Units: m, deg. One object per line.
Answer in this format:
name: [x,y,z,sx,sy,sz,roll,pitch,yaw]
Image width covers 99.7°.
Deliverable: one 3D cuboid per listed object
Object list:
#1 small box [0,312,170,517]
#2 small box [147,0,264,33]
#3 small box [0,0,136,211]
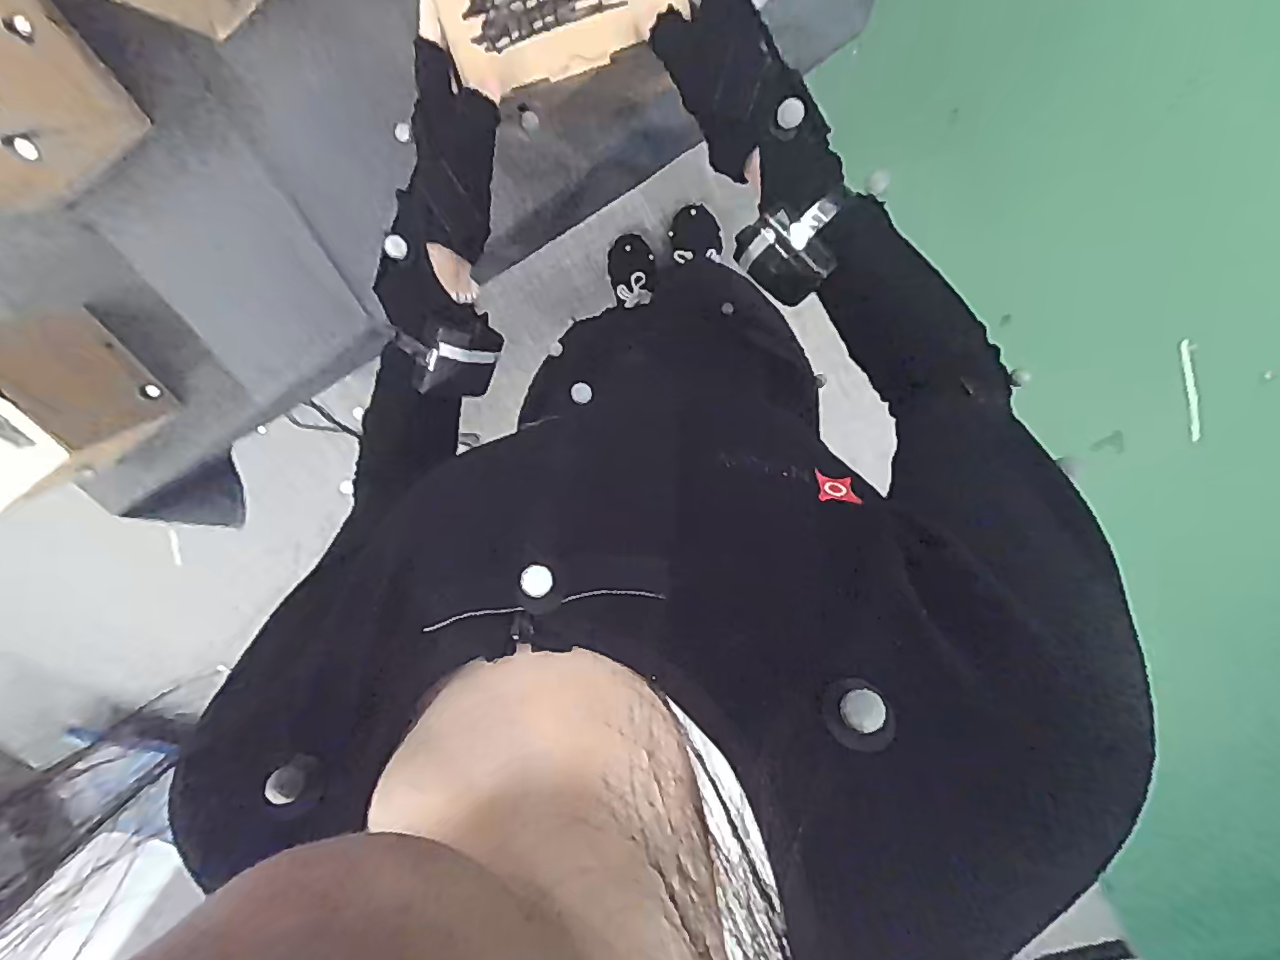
small box: [-0.750,-0.086,0.672,0.179,0.176,0.168,-28,112,15]
small box: [-0.419,-0.529,0.446,0.168,0.176,0.179,-28,114,14]
small box: [-0.657,-0.382,0.520,0.179,0.176,0.168,-27,114,13]
